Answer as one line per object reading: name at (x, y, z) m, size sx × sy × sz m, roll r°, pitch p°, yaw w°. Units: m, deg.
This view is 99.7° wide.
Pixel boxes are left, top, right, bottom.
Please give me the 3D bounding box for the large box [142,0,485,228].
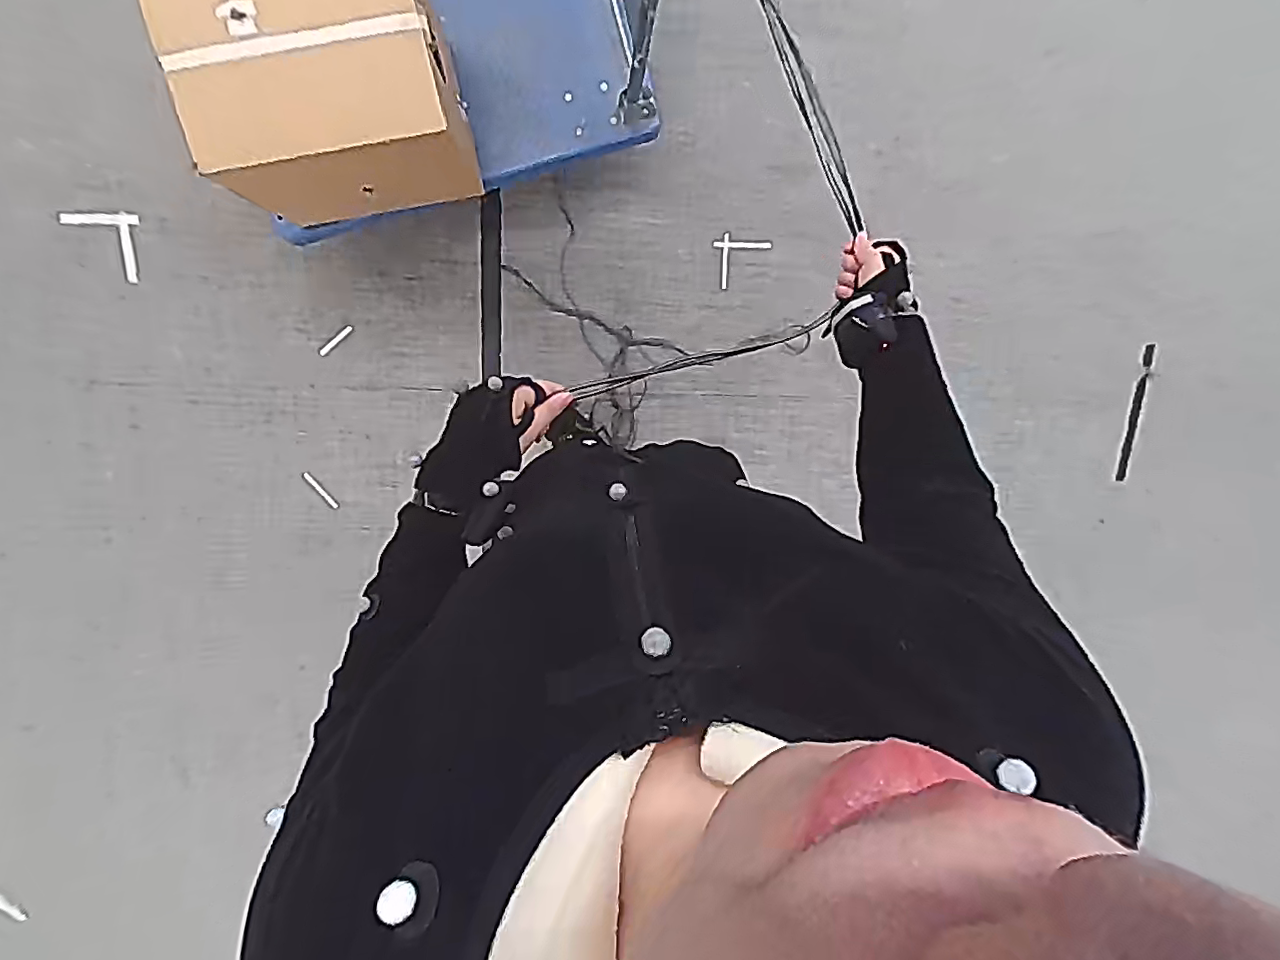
large box at (-0.546, -0.694, 0.987) m, size 0.408 × 0.320 × 0.320 m, roll -12°, pitch 100°, yaw -2°
